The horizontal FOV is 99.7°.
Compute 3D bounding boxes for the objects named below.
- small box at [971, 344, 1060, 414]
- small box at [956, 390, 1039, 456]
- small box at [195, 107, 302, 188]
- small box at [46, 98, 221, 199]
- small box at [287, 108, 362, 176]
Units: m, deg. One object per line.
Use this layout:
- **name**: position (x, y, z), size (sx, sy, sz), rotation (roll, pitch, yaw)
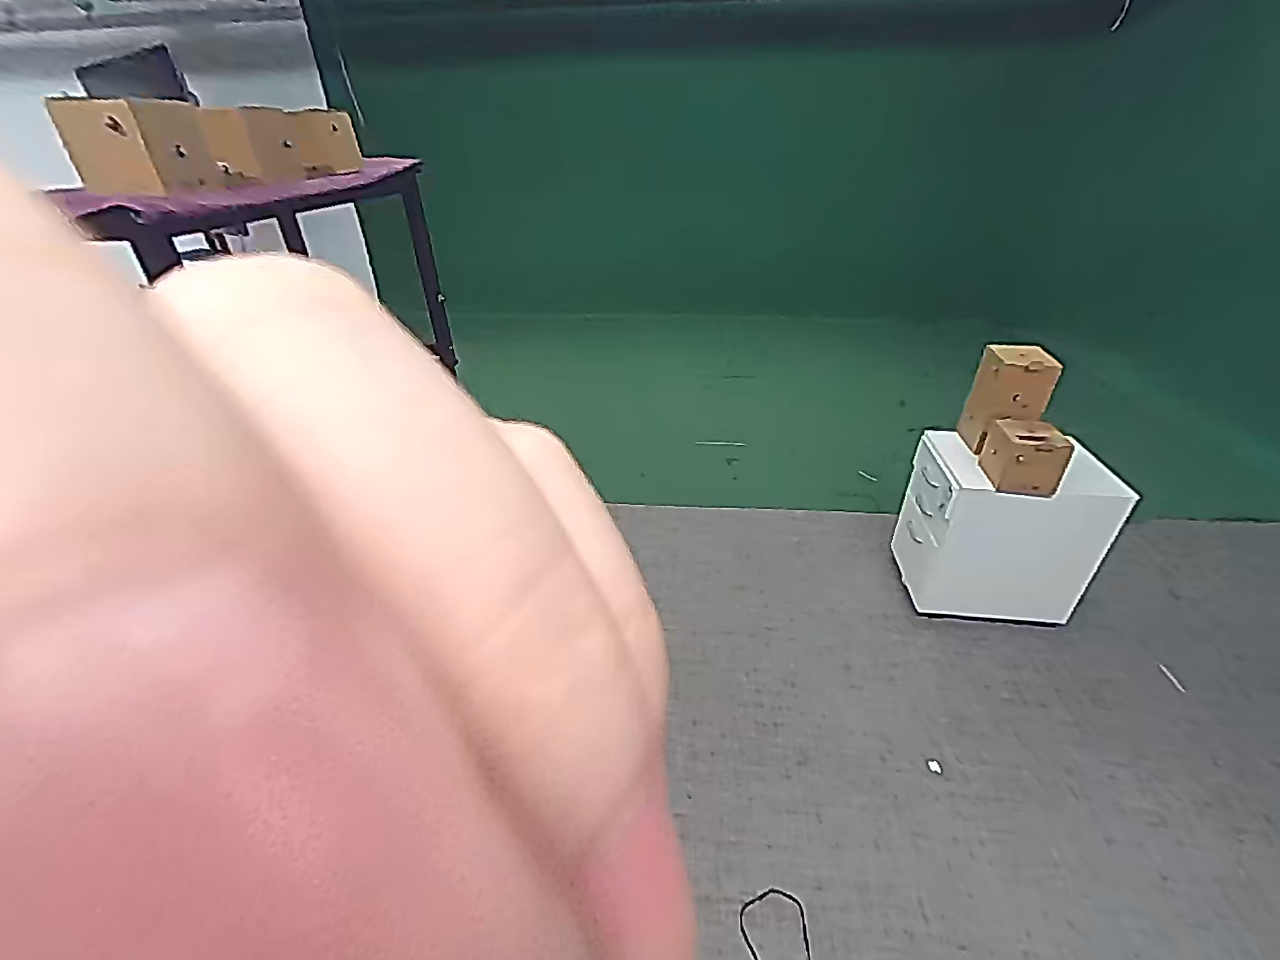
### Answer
- **small box**: position (1.236, -0.336, 1.797), size (0.168, 0.176, 0.179), rotation (4, 36, 7)
- **small box**: position (1.237, -0.200, 1.887), size (0.168, 0.176, 0.179), rotation (3, 34, 6)
- **small box**: position (-1.012, -0.859, 1.396), size (0.168, 0.176, 0.179), rotation (1, 34, 4)
- **small box**: position (-1.033, -0.688, 1.125), size (0.179, 0.176, 0.168), rotation (2, 32, 4)
- **small box**: position (-1.004, -1.051, 1.688), size (0.168, 0.176, 0.179), rotation (1, 33, 7)
